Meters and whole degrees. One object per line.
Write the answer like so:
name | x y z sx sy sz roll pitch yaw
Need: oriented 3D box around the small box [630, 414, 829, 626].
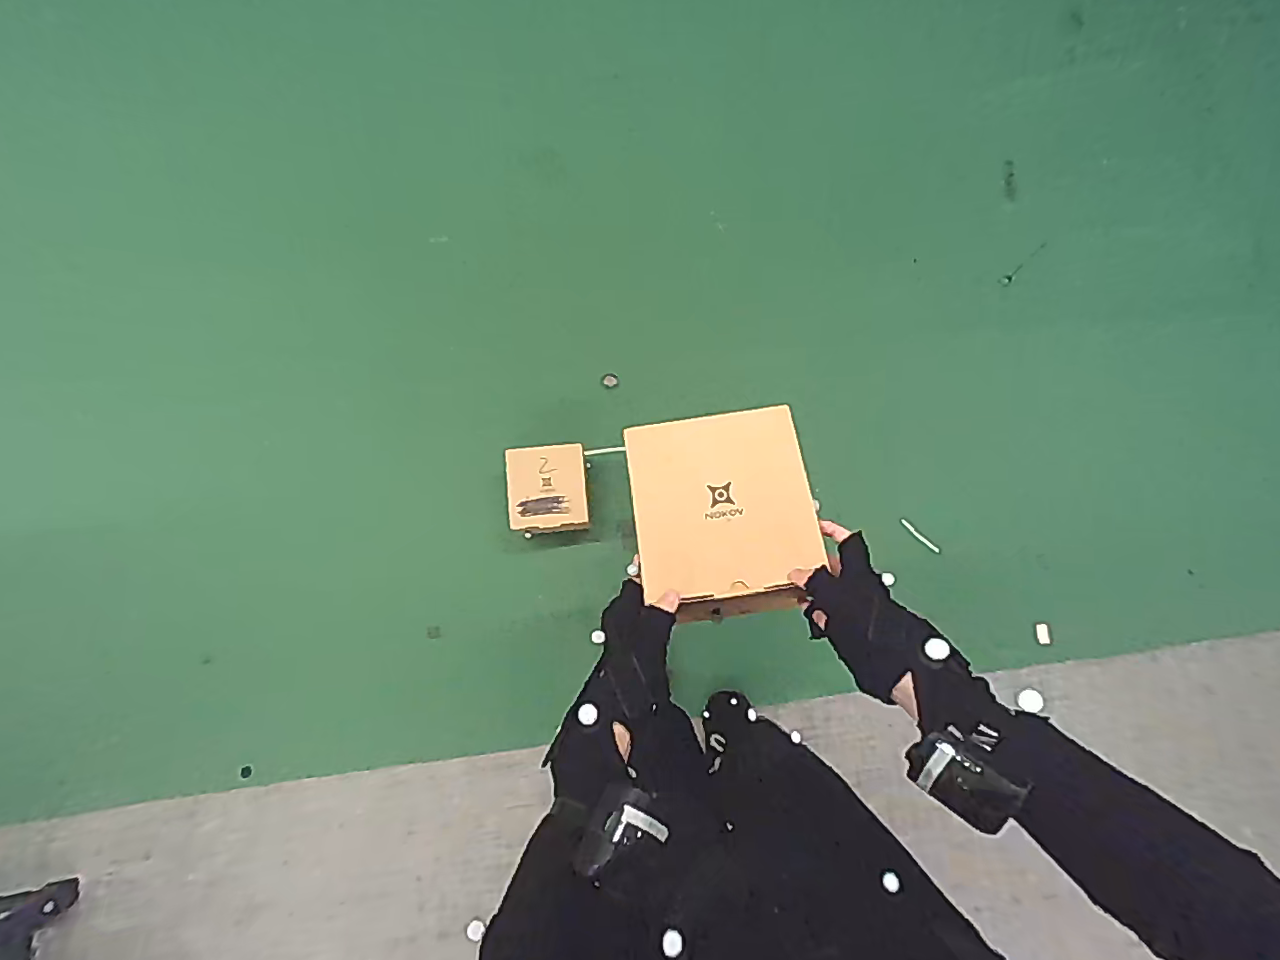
small box | 0.081 0.051 0.581 0.168 0.176 0.179 -7 69 0
